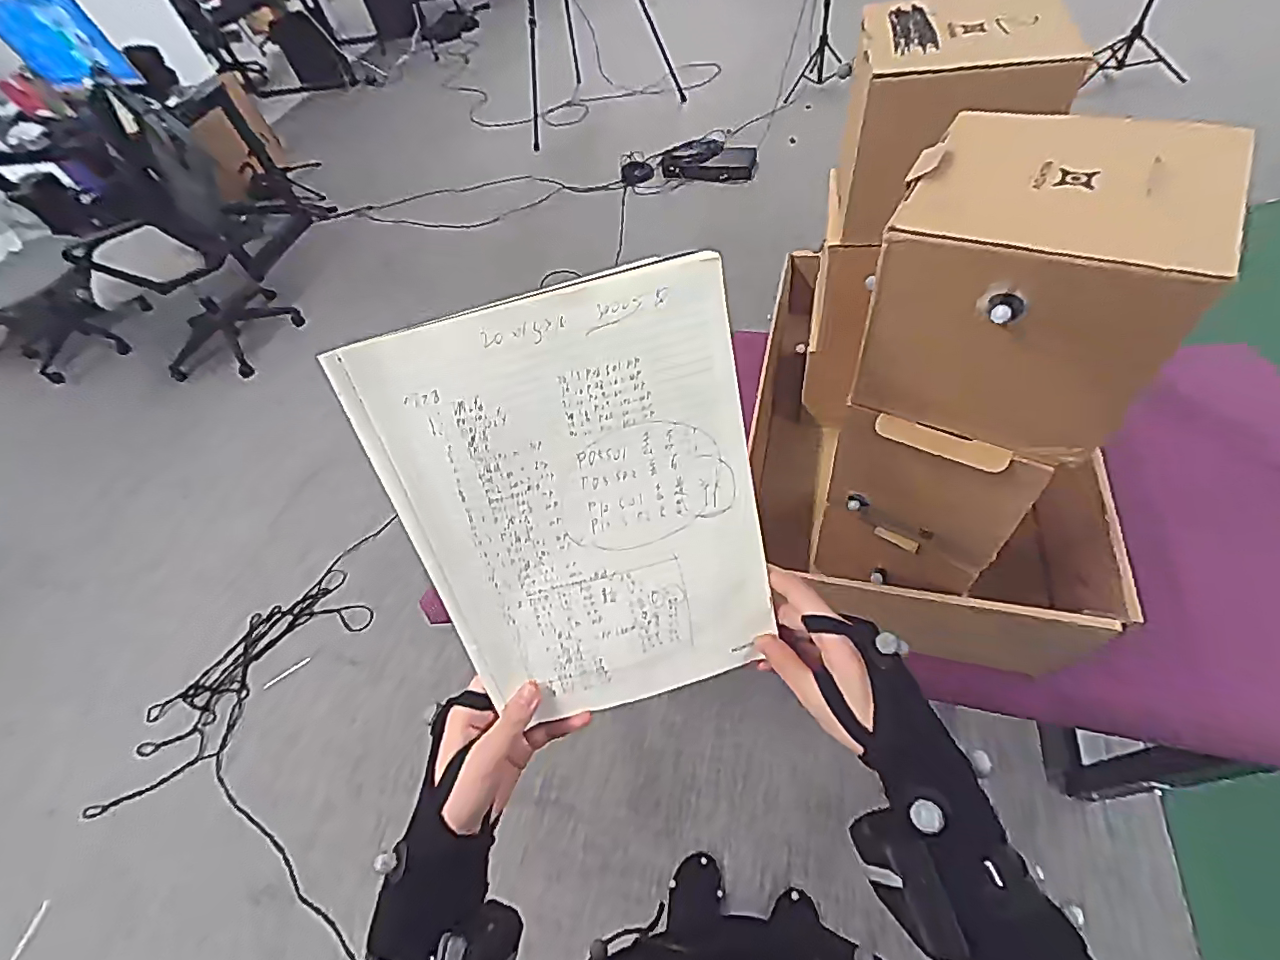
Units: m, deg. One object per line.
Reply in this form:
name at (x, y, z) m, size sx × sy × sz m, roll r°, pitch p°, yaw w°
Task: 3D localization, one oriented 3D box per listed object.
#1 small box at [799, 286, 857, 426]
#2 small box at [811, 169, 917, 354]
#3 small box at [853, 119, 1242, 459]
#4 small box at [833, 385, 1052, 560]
small box at (0.344, -0.192, 0.843) m, size 0.168 × 0.176 × 0.179 m, roll 7°, pitch 58°, yaw 16°
small box at (0.323, -0.278, 0.708) m, size 0.179 × 0.176 × 0.168 m, roll 5°, pitch 58°, yaw 14°
small box at (0.281, -0.142, 0.409) m, size 0.179 × 0.176 × 0.168 m, roll 23°, pitch 62°, yaw 26°
small box at (0.307, -0.050, 0.541) m, size 0.168 × 0.176 × 0.179 m, roll 25°, pitch 62°, yaw 28°
